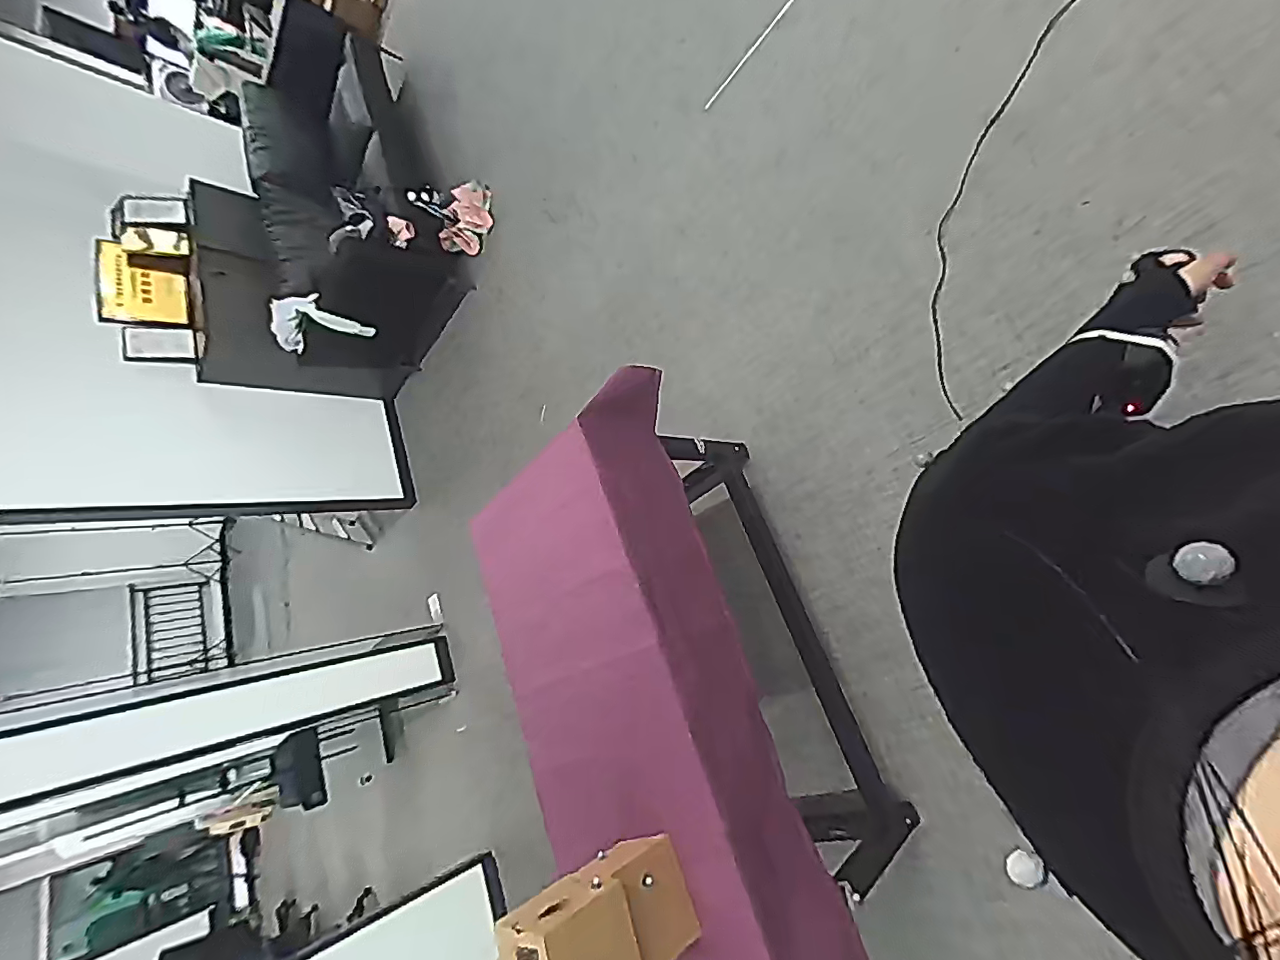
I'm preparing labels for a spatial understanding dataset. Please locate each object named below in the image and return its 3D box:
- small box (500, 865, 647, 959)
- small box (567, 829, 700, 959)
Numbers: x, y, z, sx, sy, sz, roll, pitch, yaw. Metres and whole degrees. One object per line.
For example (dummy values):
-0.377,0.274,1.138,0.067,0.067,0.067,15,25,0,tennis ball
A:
-0.111,0.802,0.935,0.168,0.176,0.179,-32,69,40,small box
-0.013,0.819,1.068,0.168,0.176,0.179,-39,64,38,small box
